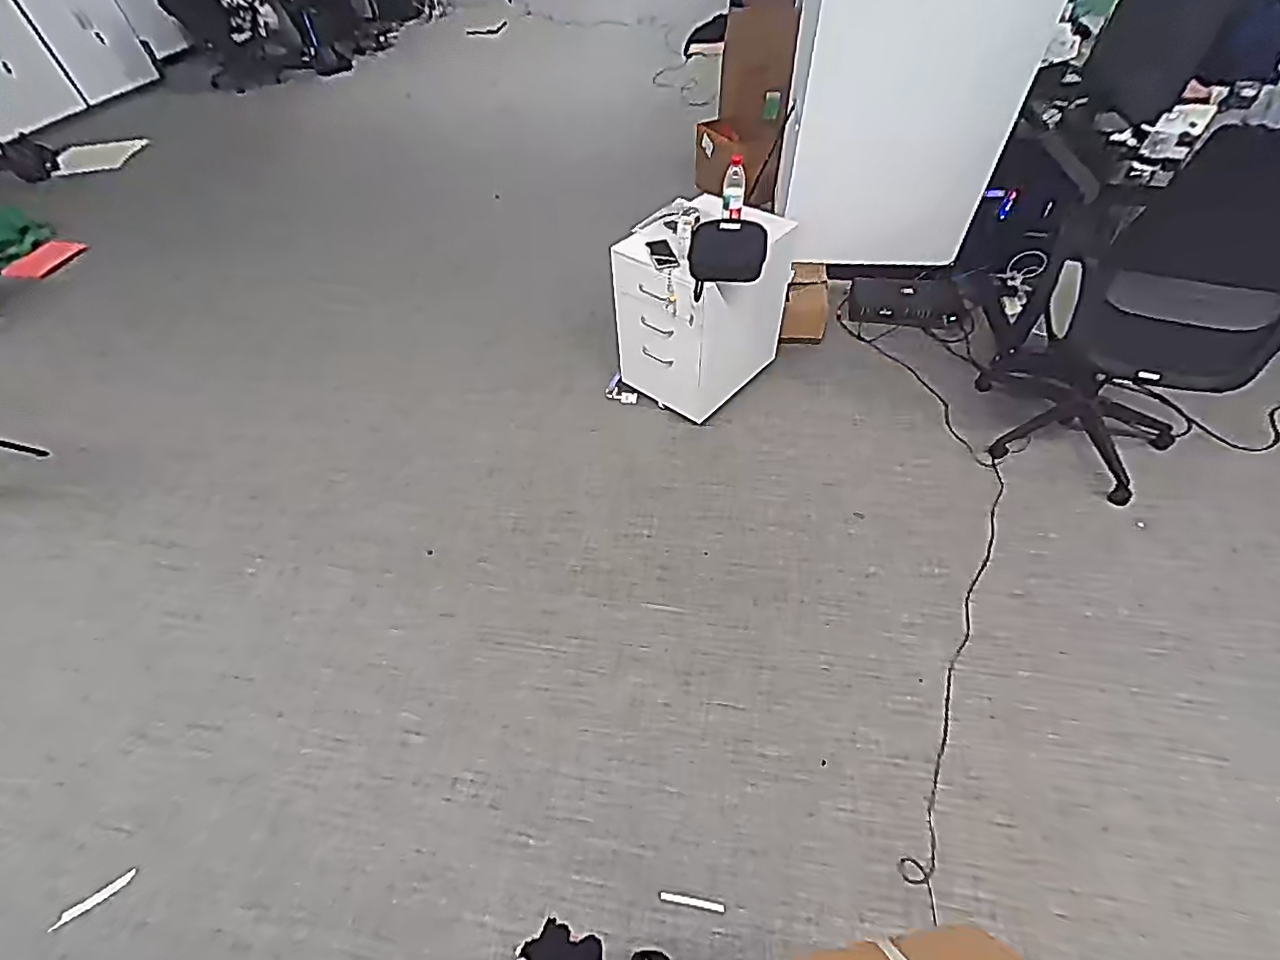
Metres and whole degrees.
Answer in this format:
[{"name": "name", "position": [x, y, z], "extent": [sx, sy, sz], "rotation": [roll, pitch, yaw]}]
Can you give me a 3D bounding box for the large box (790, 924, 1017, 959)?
[{"name": "large box", "position": [0.401, 0.803, 0.601], "extent": [0.320, 0.408, 0.320], "rotation": [-7, 77, -6]}]
